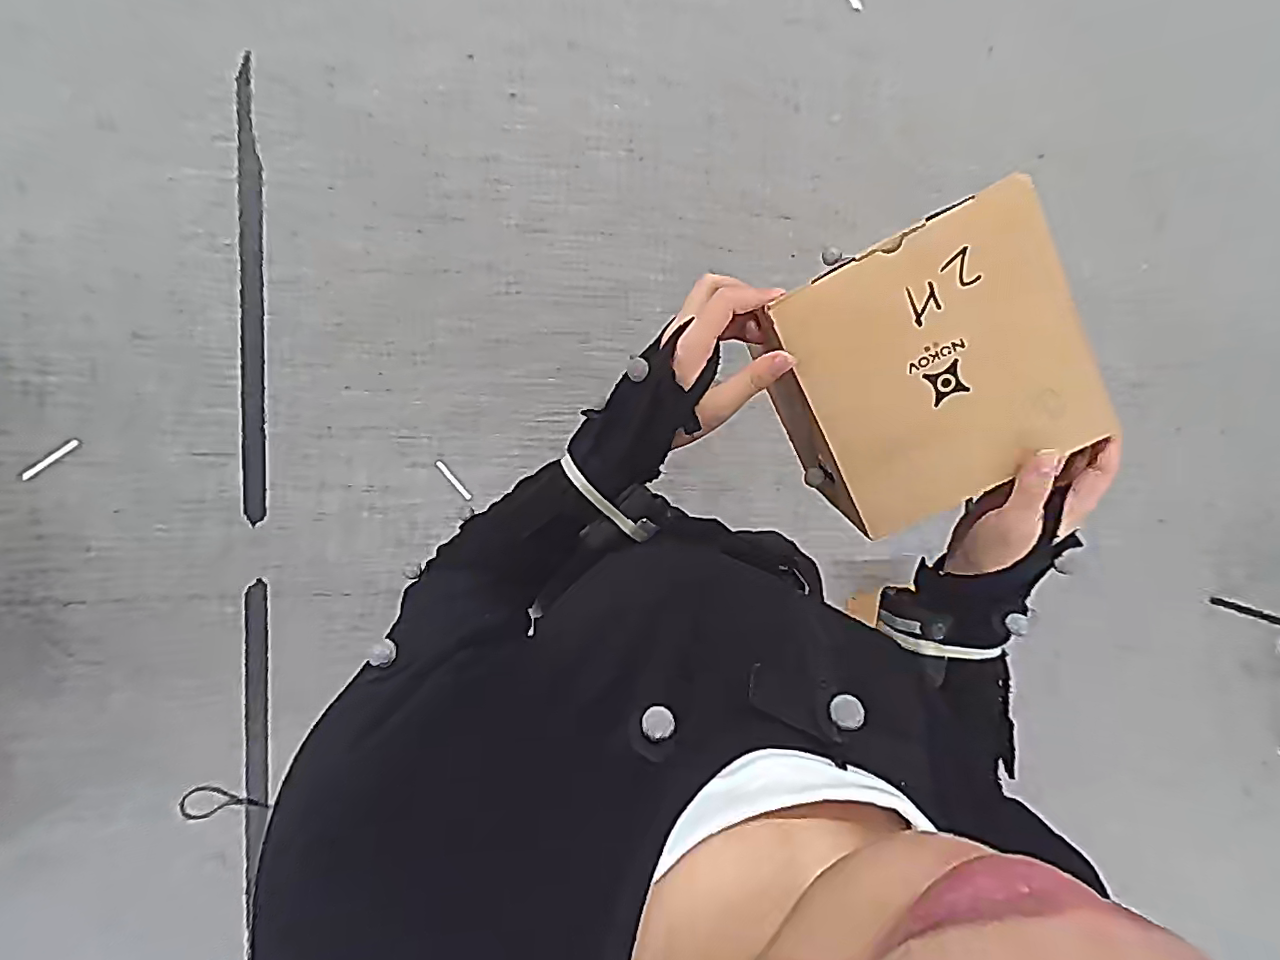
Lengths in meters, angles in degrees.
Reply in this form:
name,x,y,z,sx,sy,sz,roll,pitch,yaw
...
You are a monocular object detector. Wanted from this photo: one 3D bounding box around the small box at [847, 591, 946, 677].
name,x,y,z,sx,sy,sz,roll,pitch,yaw
small box,0.666,0.395,1.416,0.179,0.176,0.168,-3,94,-7
